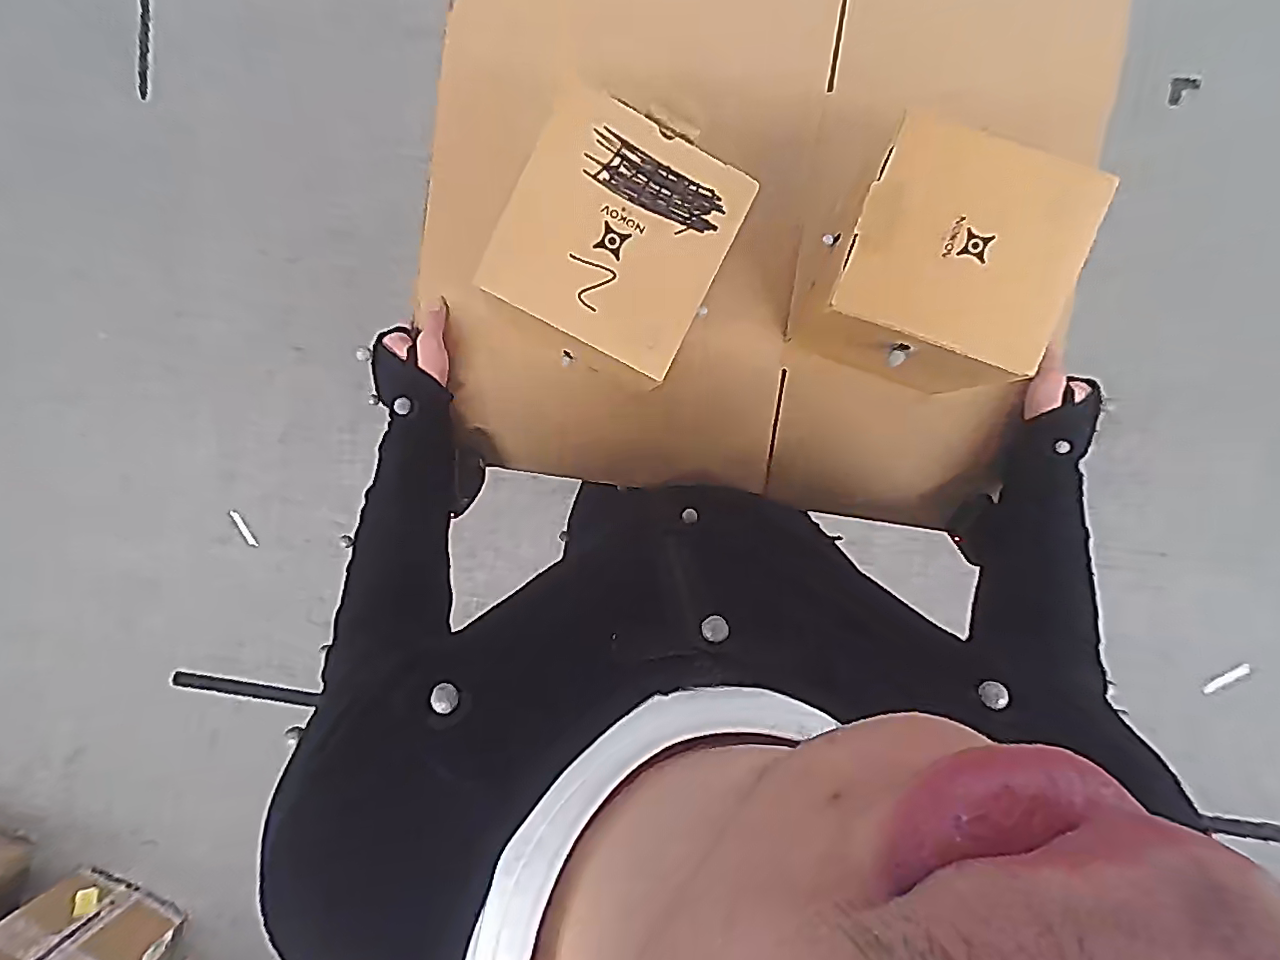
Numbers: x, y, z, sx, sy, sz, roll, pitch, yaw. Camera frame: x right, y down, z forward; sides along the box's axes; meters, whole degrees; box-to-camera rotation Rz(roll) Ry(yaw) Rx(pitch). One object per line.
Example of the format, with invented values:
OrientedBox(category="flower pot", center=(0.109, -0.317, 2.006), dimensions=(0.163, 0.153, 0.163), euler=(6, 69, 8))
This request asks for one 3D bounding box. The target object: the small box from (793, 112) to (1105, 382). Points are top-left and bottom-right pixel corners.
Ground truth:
OrientedBox(category="small box", center=(0.271, -0.201, 0.524), dimensions=(0.179, 0.176, 0.168), euler=(21, 96, 3))
